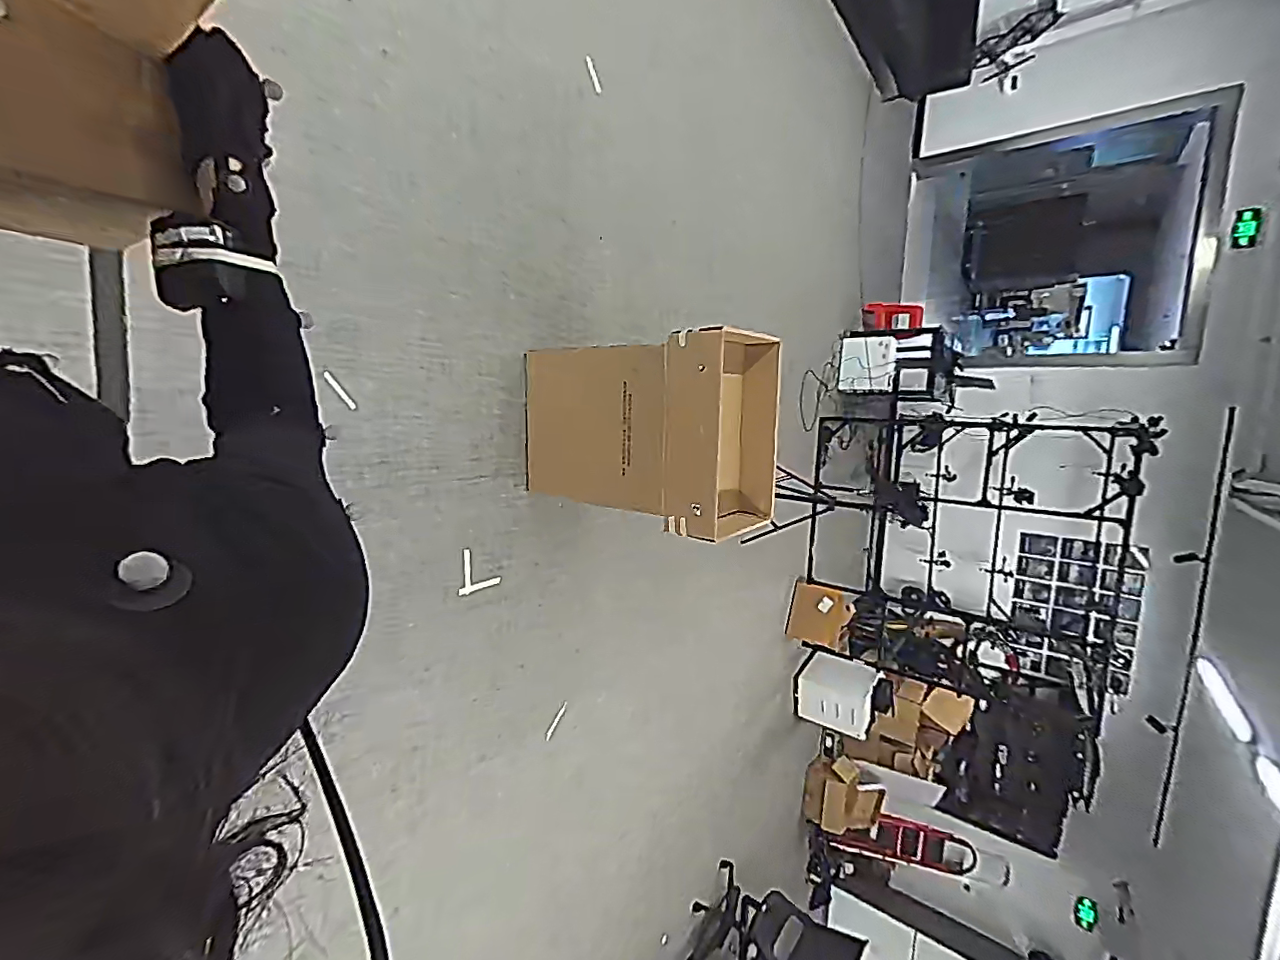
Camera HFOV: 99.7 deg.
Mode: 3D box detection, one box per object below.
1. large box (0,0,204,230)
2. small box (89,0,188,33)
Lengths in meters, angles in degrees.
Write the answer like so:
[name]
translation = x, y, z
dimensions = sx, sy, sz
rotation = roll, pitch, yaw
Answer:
[large box]
translation = -0.603, -0.395, 0.363
dimensions = 0.408, 0.320, 0.320
rotation = -9, 107, -55
[small box]
translation = -0.336, -0.416, 0.308
dimensions = 0.168, 0.176, 0.179
rotation = 15, 86, -55
